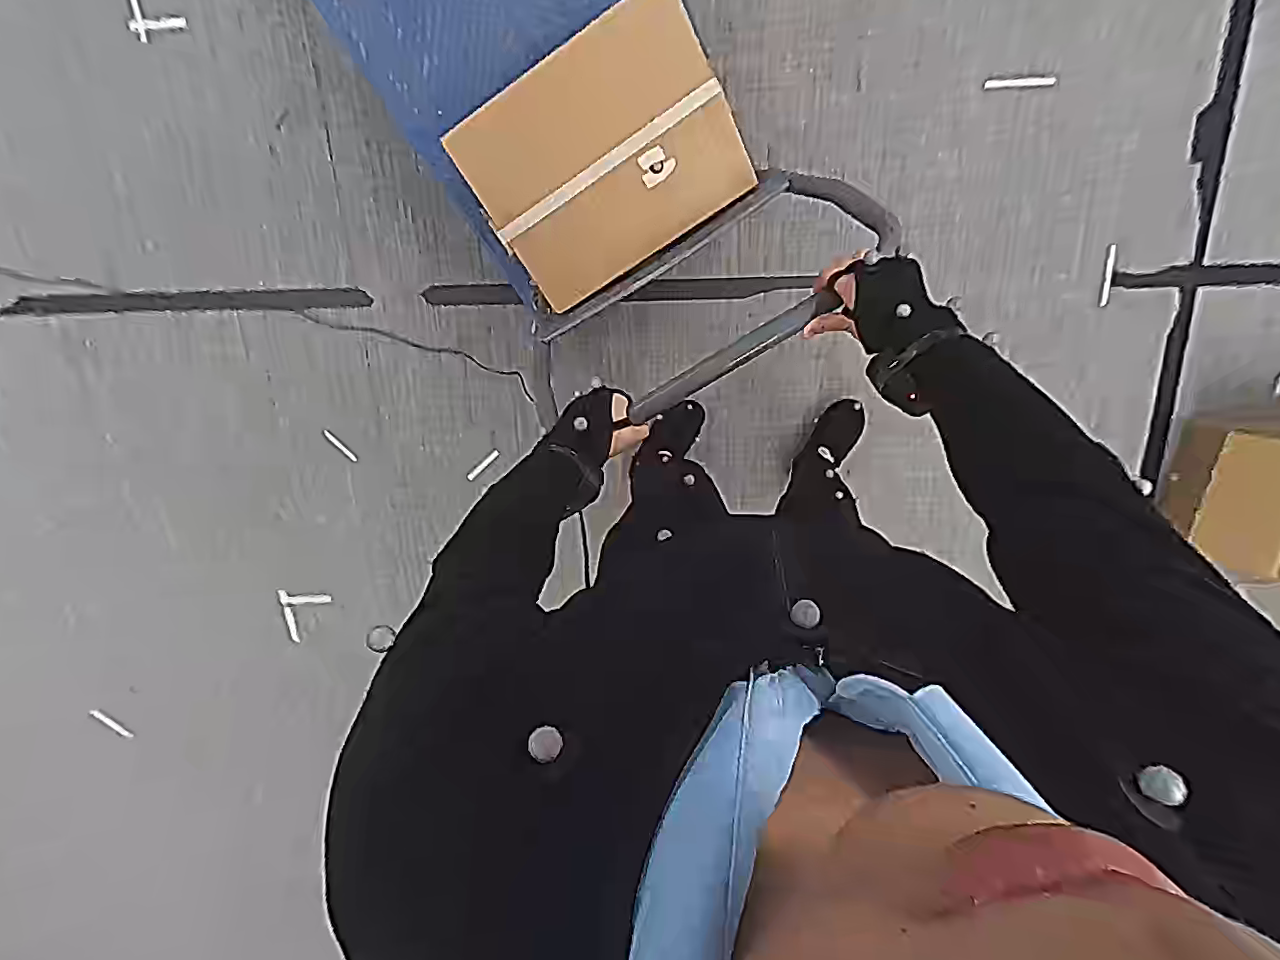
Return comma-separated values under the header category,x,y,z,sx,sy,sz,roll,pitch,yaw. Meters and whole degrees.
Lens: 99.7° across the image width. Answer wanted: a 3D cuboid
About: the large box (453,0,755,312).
category,x,y,z,sx,sy,sz,roll,pitch,yaw
large box,-0.066,-0.580,1.001,0.408,0.320,0.320,-31,118,10
